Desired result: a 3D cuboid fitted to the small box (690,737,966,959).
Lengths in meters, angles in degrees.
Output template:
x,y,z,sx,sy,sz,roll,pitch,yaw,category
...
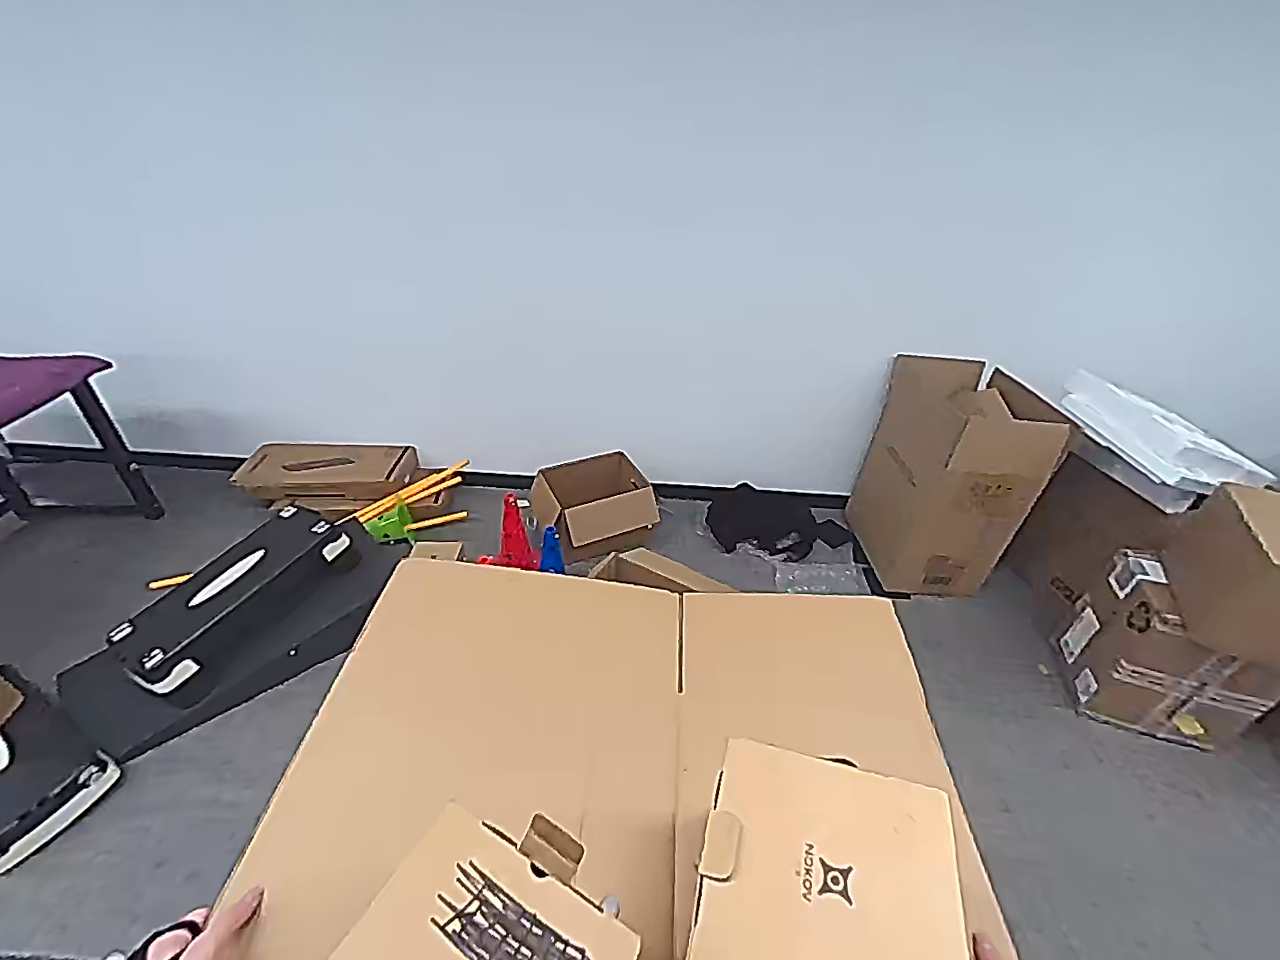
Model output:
x,y,z,sx,sy,sz,roll,pitch,yaw,category
0.144,0.348,0.445,0.179,0.176,0.168,7,41,15,small box
